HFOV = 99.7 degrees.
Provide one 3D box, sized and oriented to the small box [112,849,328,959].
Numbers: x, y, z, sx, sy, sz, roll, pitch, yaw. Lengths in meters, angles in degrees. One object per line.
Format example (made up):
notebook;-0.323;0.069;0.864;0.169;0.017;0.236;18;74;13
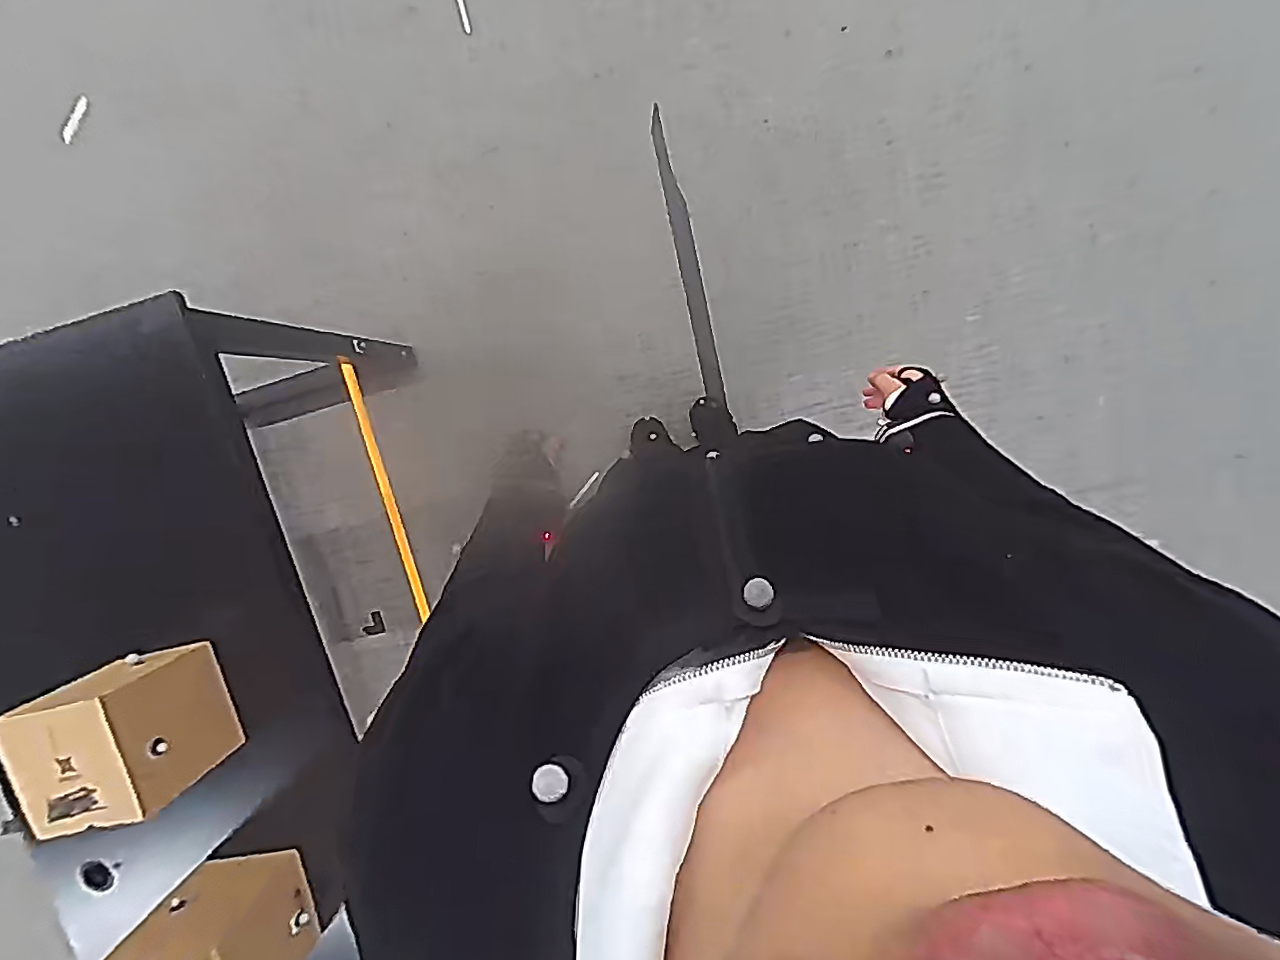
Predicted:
small box;-0.627;0.710;0.828;0.179;0.176;0.168;-11;99;4

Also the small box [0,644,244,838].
small box;-0.724;0.365;0.779;0.168;0.176;0.179;-13;97;5
